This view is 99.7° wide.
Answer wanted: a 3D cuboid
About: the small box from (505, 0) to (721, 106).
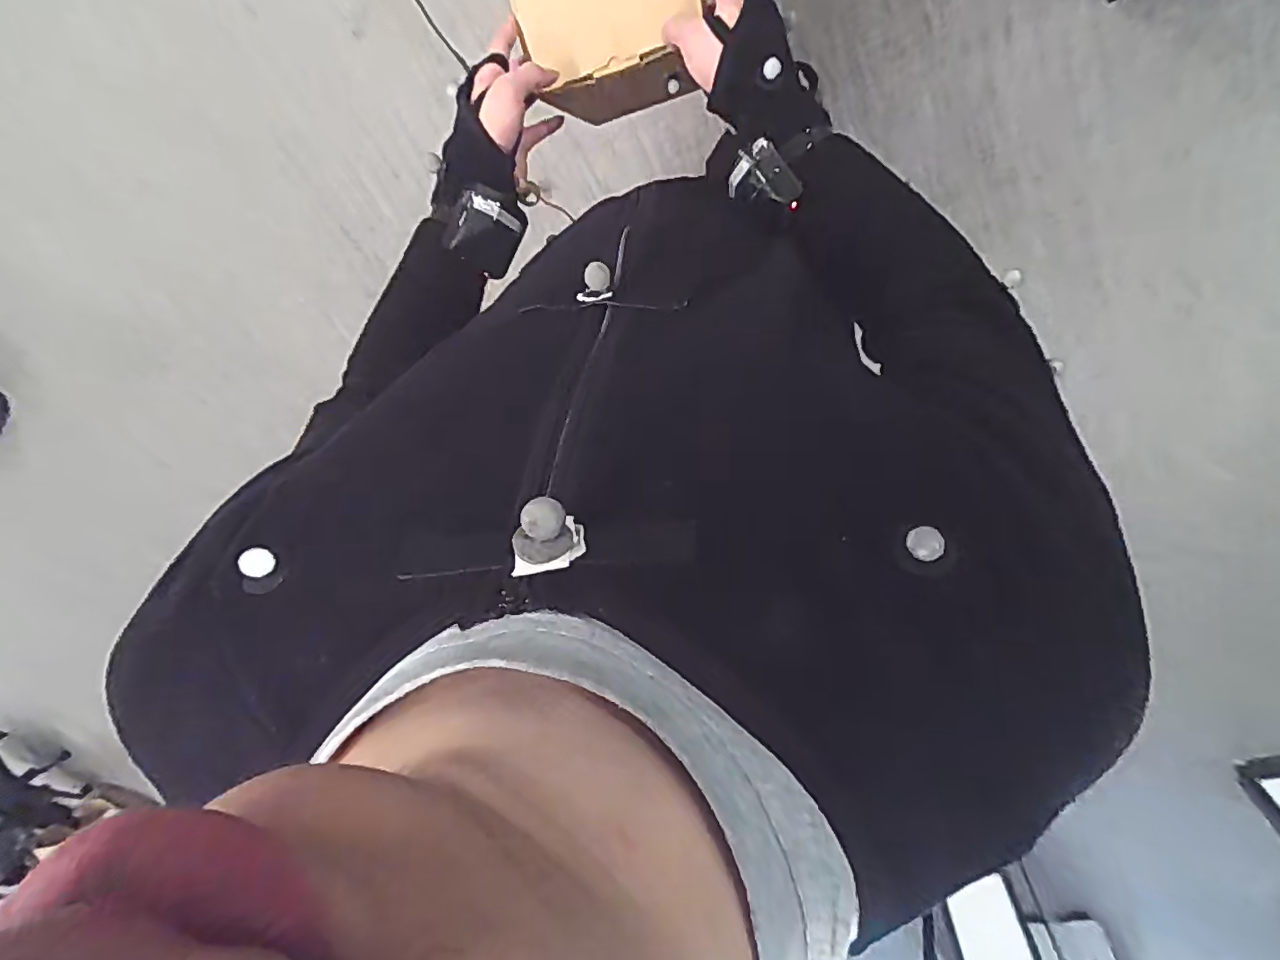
[{"bbox_3d":[-0.025,-0.482,0.511,0.168,0.176,0.179,-6,111,19],"label":"small box"}]
